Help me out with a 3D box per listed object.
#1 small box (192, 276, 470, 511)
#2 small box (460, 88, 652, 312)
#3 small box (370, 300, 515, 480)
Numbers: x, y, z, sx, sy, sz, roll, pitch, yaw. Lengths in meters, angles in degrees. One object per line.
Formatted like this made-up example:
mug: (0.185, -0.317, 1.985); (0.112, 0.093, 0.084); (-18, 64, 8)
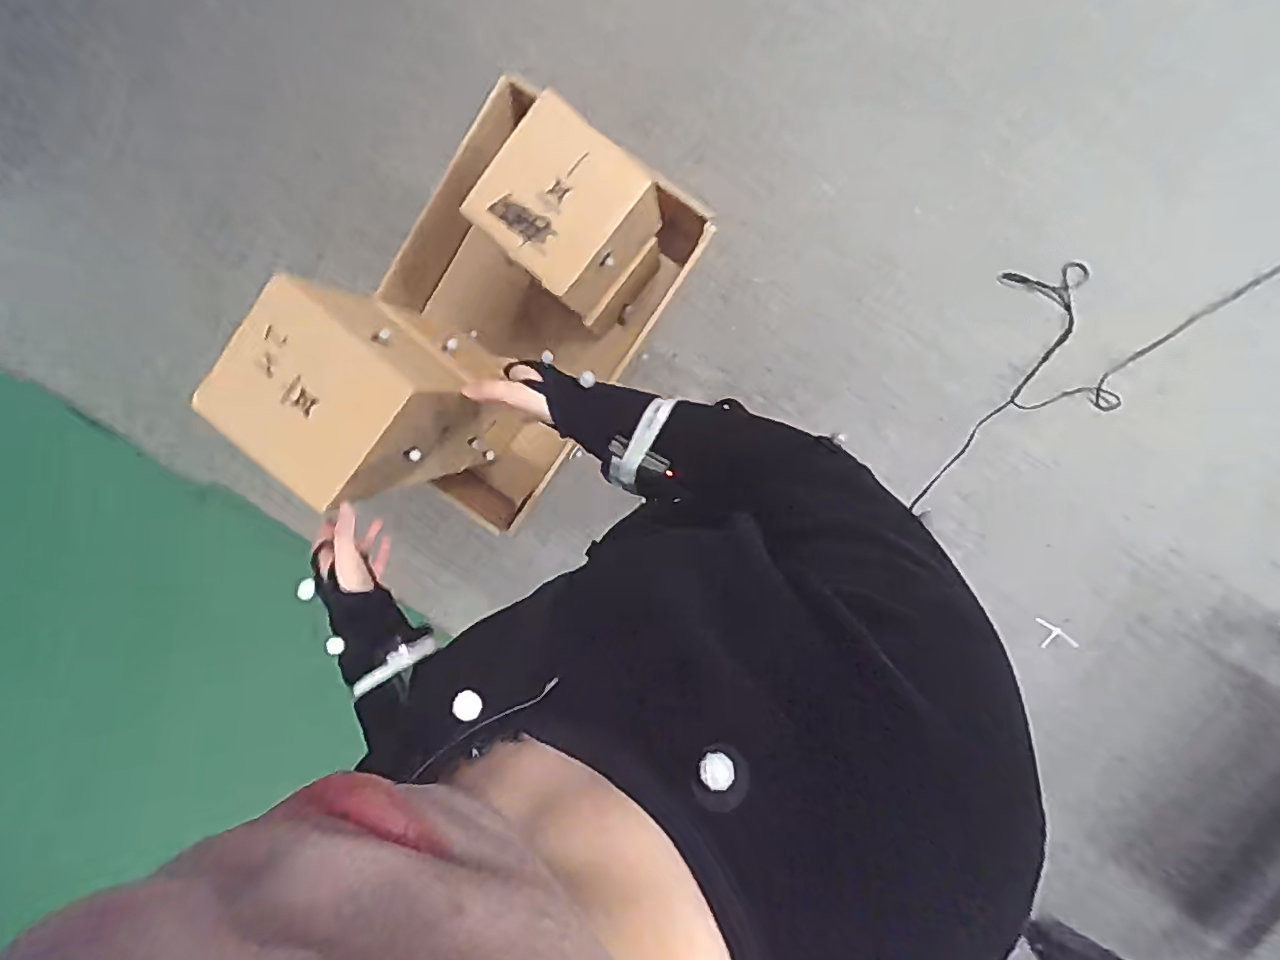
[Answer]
small box: (-0.327, -0.095, 0.611); (0.179, 0.176, 0.168); (41, 99, -1)
small box: (-0.097, -0.350, 0.720); (0.168, 0.176, 0.179); (41, 99, -2)
small box: (-0.311, -0.123, 0.773); (0.179, 0.176, 0.168); (40, 100, -2)
